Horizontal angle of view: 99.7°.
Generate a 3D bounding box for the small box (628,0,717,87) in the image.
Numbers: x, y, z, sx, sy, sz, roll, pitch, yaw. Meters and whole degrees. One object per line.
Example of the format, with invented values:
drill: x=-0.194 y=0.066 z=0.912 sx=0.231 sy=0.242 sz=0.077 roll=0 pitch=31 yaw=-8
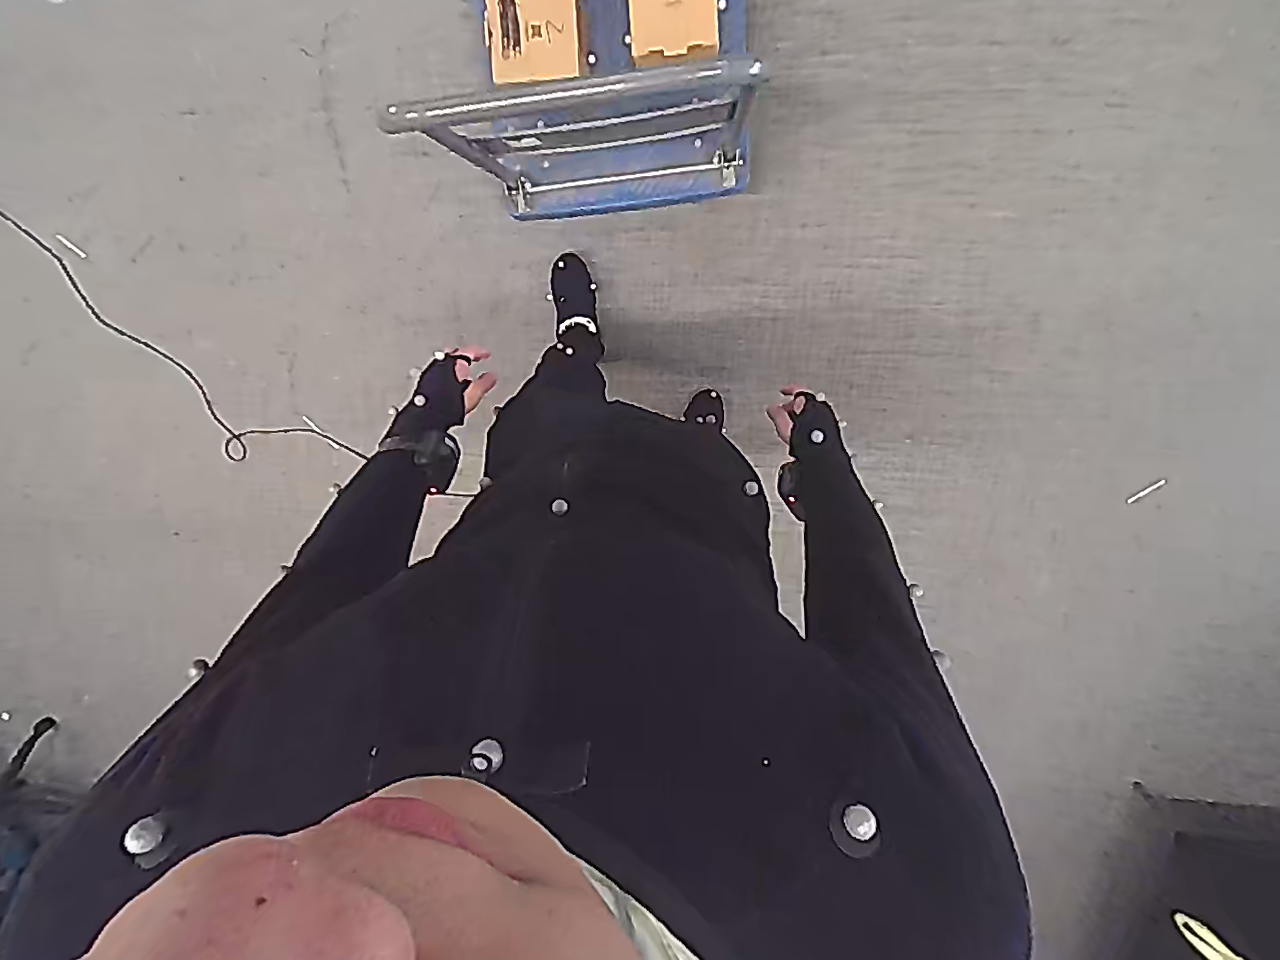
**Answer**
small box: x=0.064 y=-0.921 z=1.071 sx=0.168 sy=0.176 sz=0.179 roll=-3 pitch=107 yaw=6
